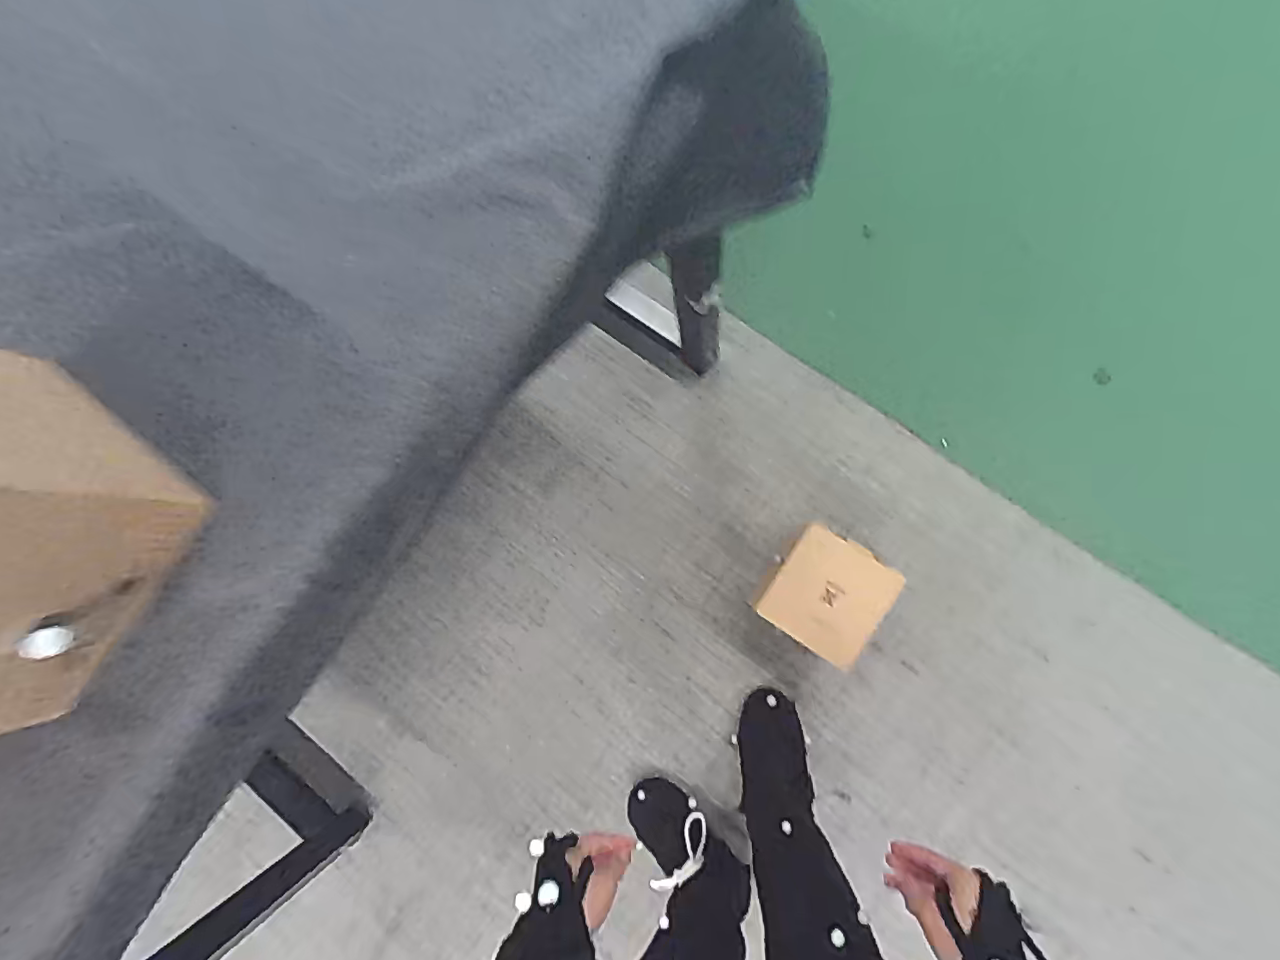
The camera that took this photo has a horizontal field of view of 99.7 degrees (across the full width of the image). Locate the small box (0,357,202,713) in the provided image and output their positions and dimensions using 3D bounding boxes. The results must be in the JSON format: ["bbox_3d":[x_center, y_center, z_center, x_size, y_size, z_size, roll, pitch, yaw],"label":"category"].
[{"bbox_3d":[-0.394,0.023,0.274,0.179,0.176,0.168,35,89,10],"label":"small box"}]

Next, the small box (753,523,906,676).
[{"bbox_3d":[0.302,0.191,0.909,0.168,0.176,0.179,33,88,11],"label":"small box"}]
